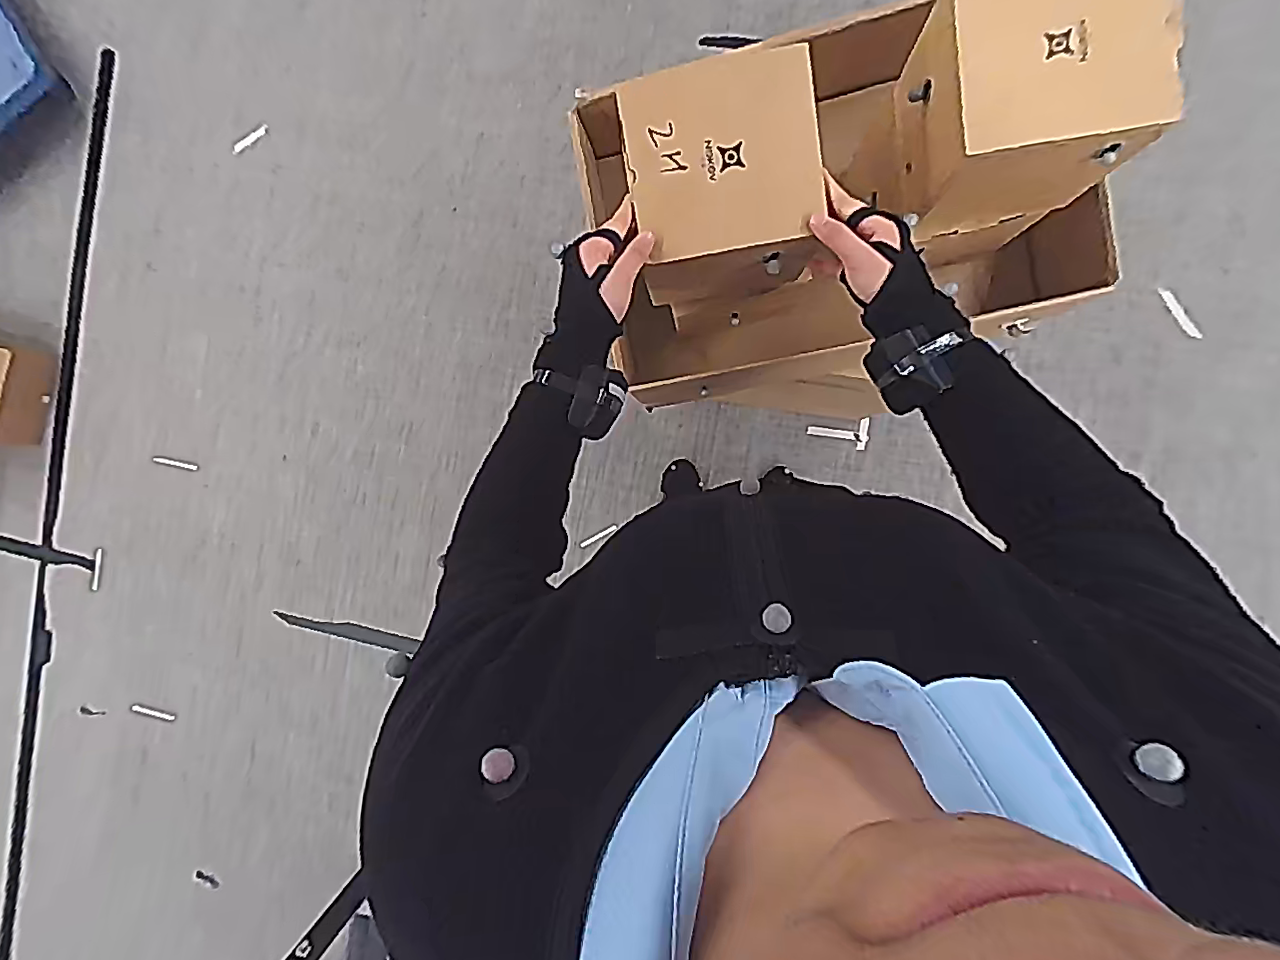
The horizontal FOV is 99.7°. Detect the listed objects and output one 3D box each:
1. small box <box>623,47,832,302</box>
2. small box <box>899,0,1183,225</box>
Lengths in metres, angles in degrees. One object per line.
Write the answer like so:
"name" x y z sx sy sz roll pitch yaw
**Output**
"small box" 0.086 -0.299 0.570 0.179 0.176 0.168 -7 94 7
"small box" 0.378 -0.381 0.547 0.179 0.176 0.168 -6 92 8
